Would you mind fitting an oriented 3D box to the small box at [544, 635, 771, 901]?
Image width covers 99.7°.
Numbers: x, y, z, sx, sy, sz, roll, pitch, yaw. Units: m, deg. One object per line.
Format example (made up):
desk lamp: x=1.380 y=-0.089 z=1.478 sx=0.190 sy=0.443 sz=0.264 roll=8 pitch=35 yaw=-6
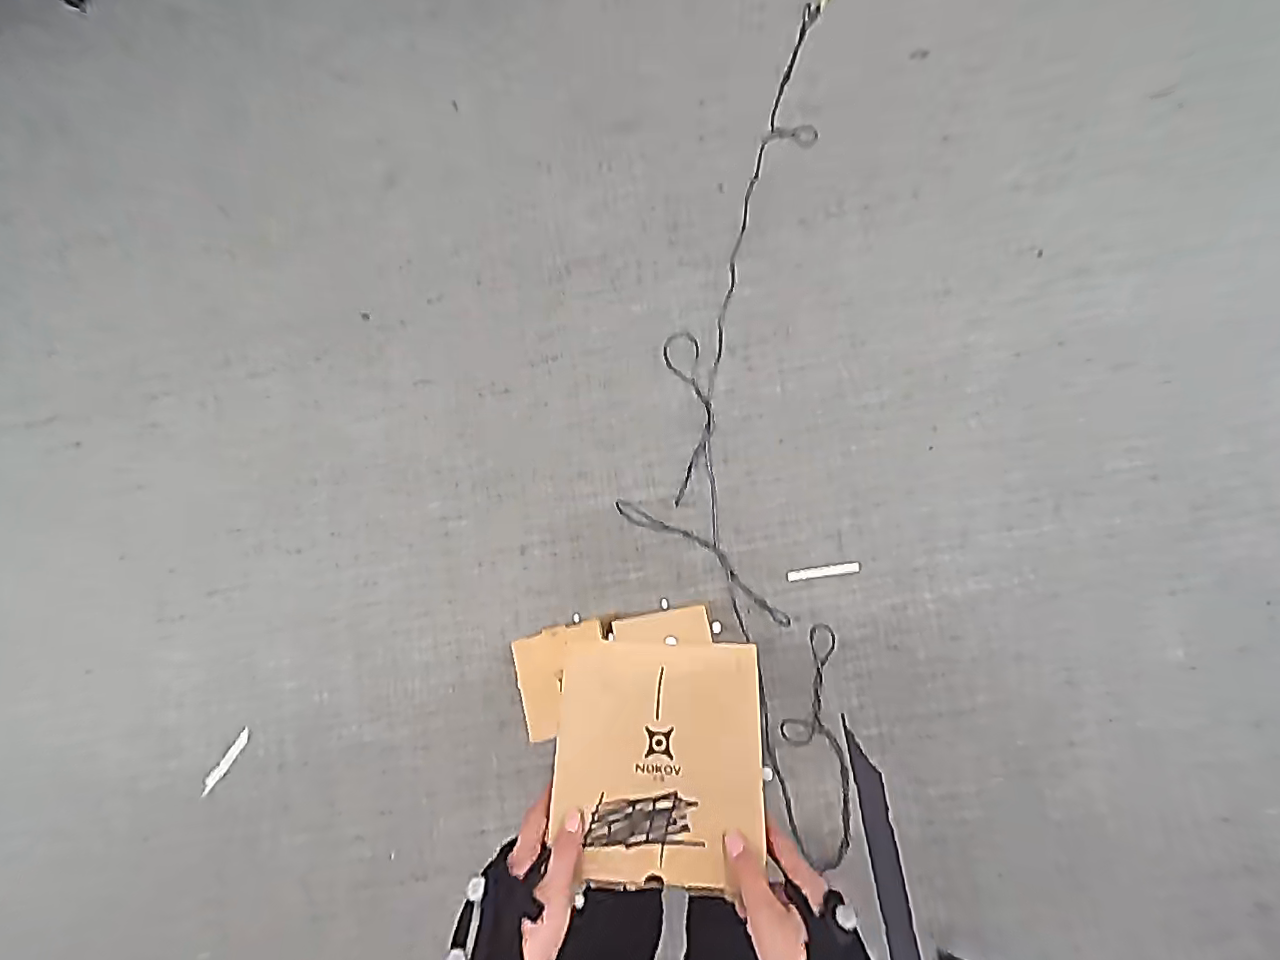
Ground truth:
small box: x=0.022 y=0.244 z=0.487 sx=0.168 sy=0.176 sz=0.179 roll=0 pitch=65 yaw=5
